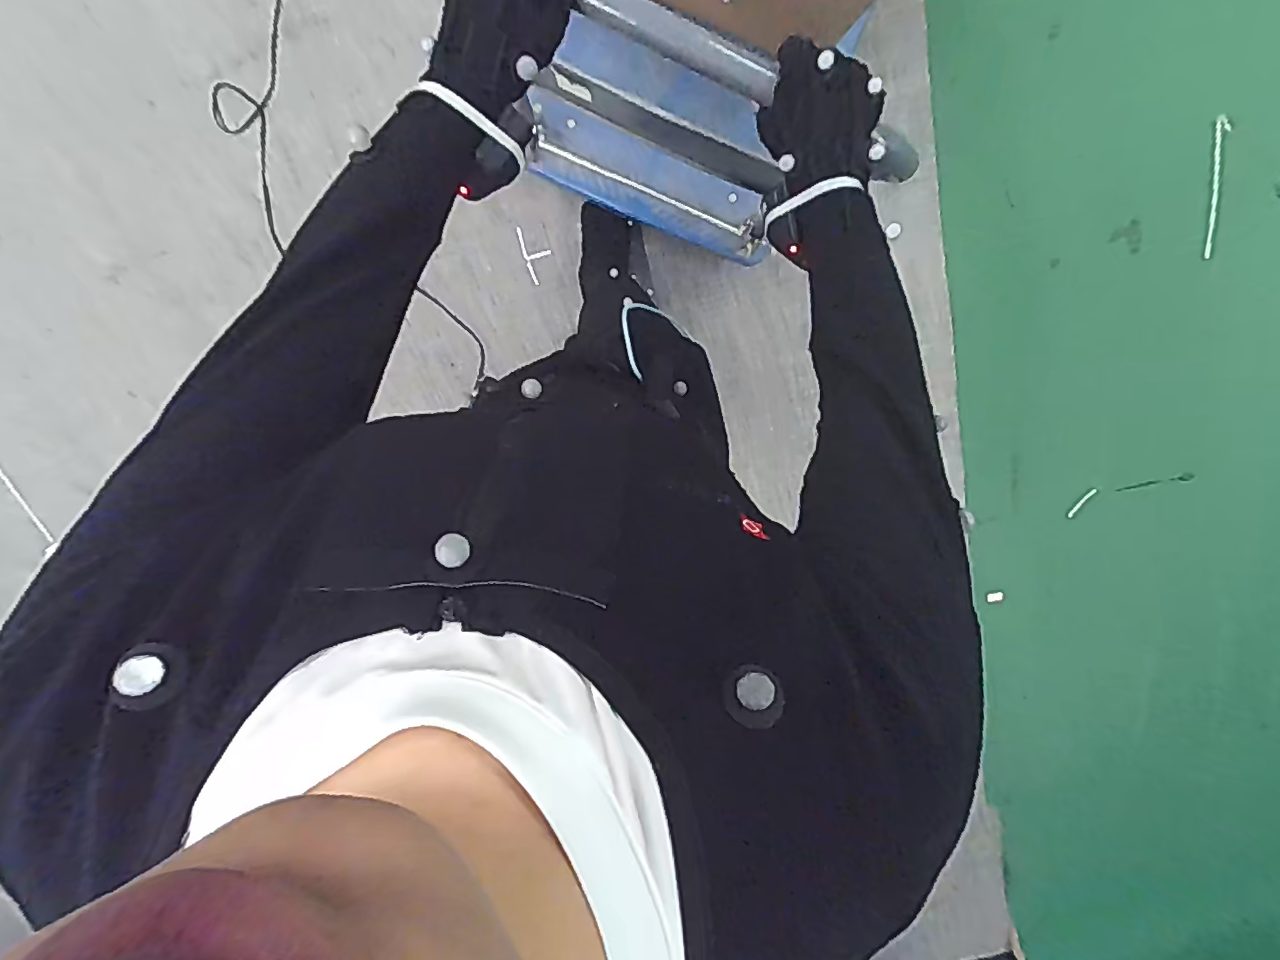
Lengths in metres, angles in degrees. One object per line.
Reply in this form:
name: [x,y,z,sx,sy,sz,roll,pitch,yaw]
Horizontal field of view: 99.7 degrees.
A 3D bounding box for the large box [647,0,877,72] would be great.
large box: [0.203,-0.933,0.844,0.408,0.320,0.320,19,108,-8]
